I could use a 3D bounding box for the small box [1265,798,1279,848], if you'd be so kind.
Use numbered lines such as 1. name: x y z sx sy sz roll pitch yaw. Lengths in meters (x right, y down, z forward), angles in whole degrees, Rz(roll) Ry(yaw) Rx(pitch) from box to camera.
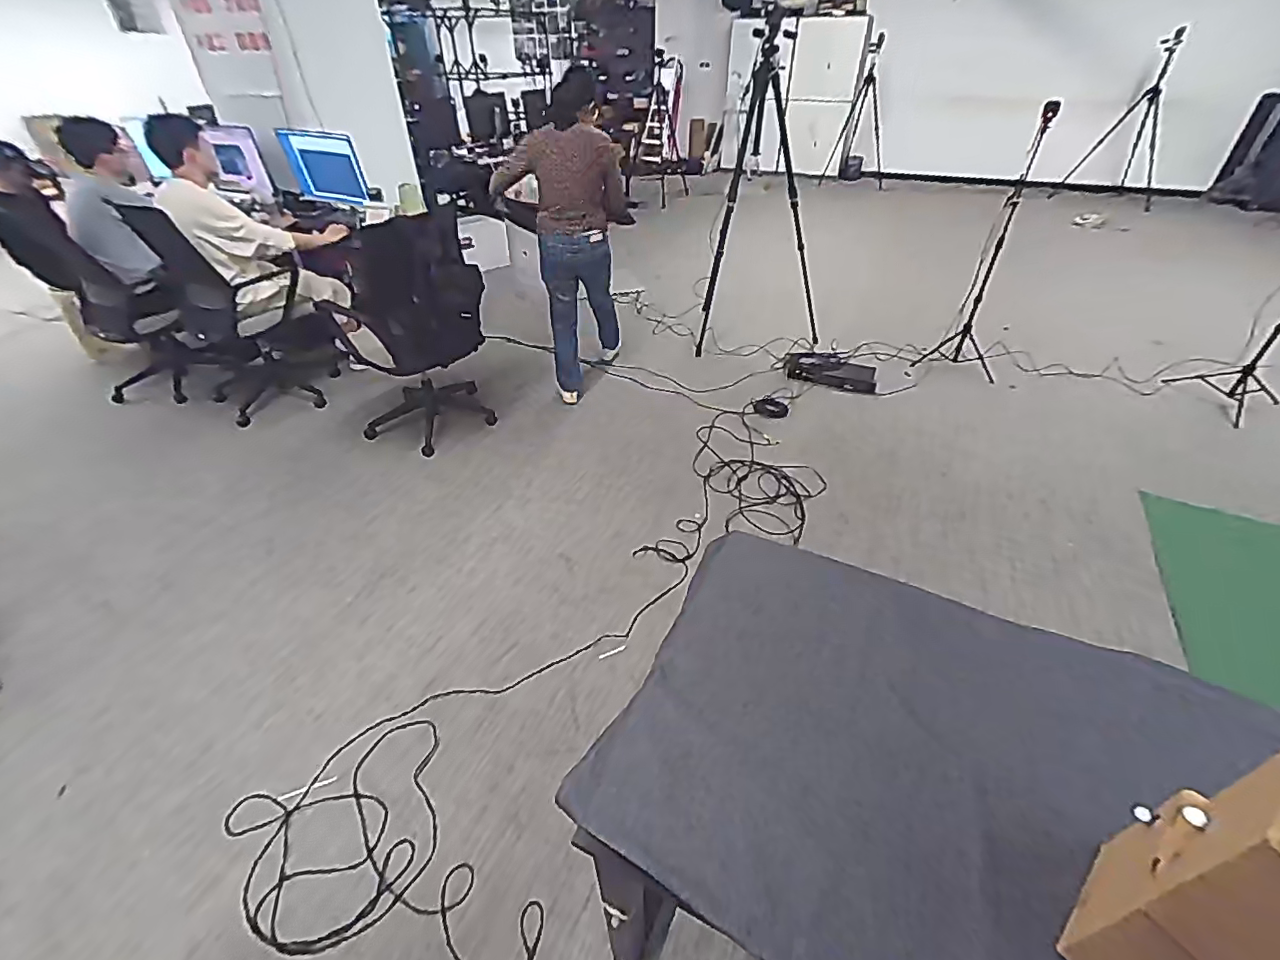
1. small box: 0.564 0.216 0.329 0.168 0.176 0.179 -23 44 -27

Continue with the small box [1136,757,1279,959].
1. small box: 0.567 0.346 0.427 0.168 0.176 0.179 -21 42 -25
